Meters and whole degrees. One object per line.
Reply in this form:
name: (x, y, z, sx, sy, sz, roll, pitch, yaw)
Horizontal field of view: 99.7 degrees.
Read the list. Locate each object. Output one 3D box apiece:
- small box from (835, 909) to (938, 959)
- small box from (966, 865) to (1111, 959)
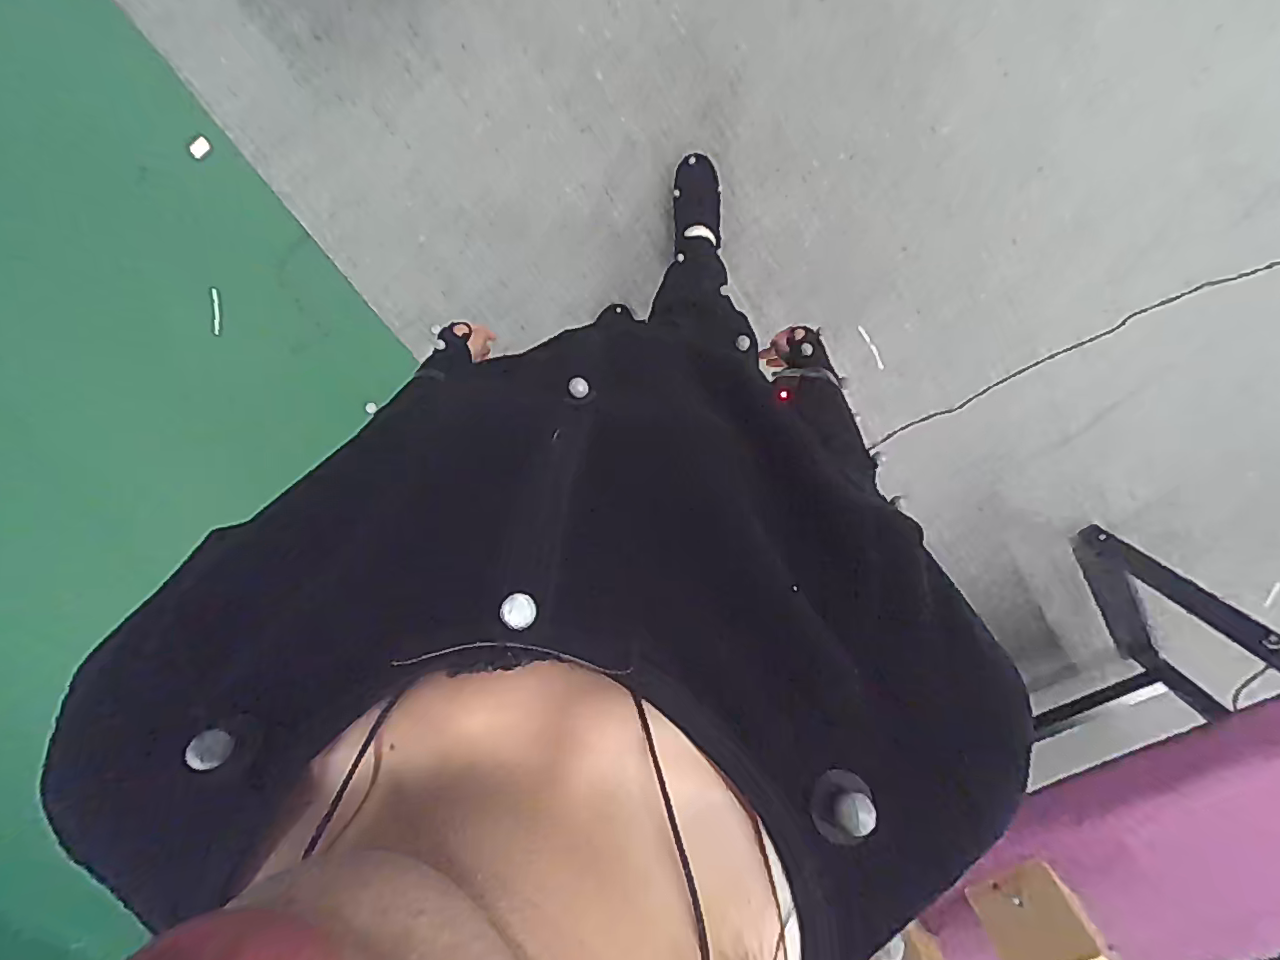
small box: (0.518, 1.025, 1.095, 0.179, 0.176, 0.168, -36, 108, 14)
small box: (0.777, 0.889, 1.036, 0.168, 0.176, 0.179, -39, 107, 14)
